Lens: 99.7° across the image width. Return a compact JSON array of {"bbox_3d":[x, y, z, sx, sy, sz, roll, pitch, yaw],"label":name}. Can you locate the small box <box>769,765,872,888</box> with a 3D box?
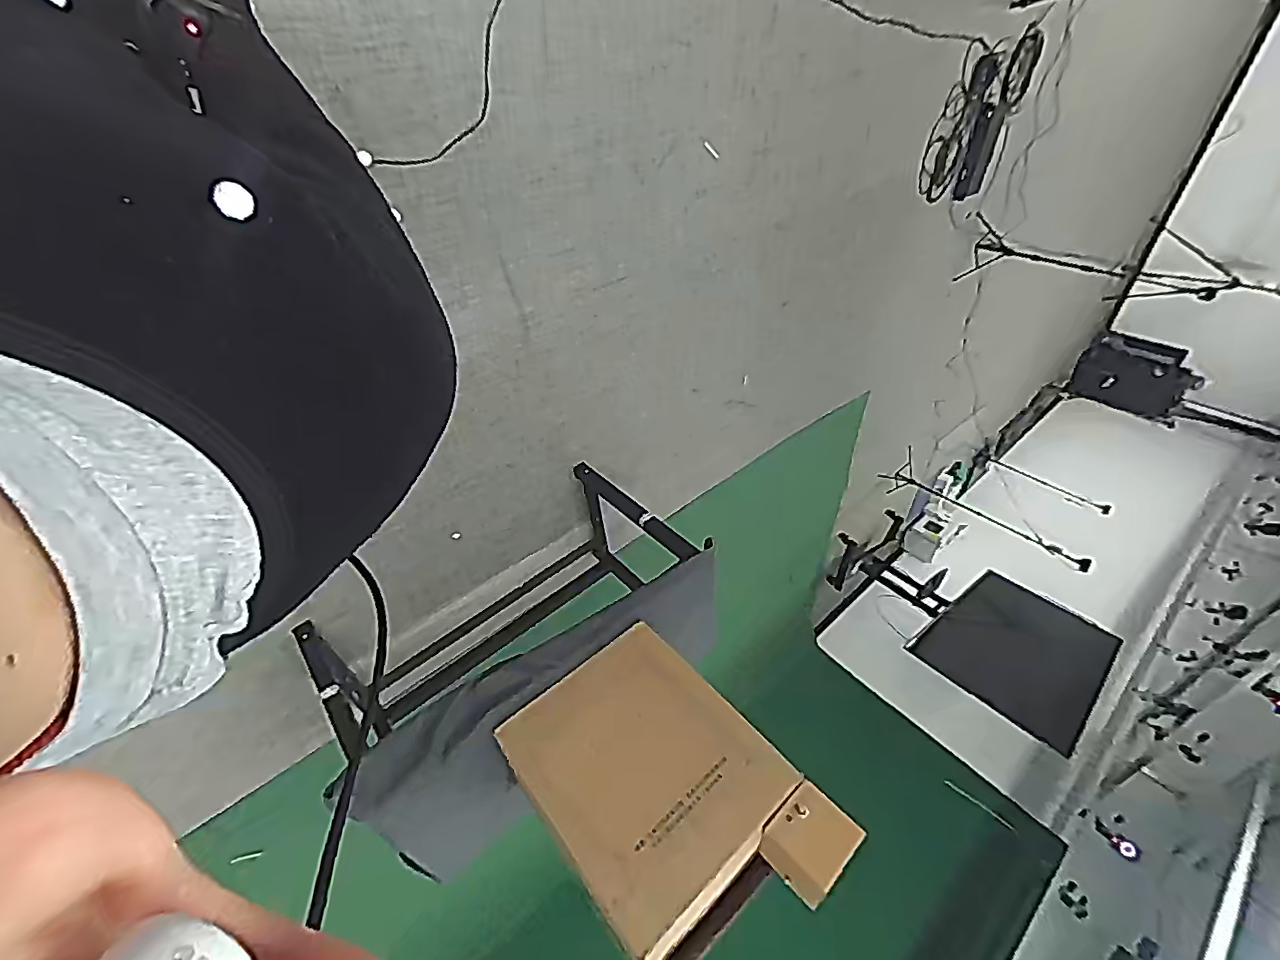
[{"bbox_3d":[0.433,0.839,1.322,0.168,0.176,0.179,-36,138,-28],"label":"small box"}]
